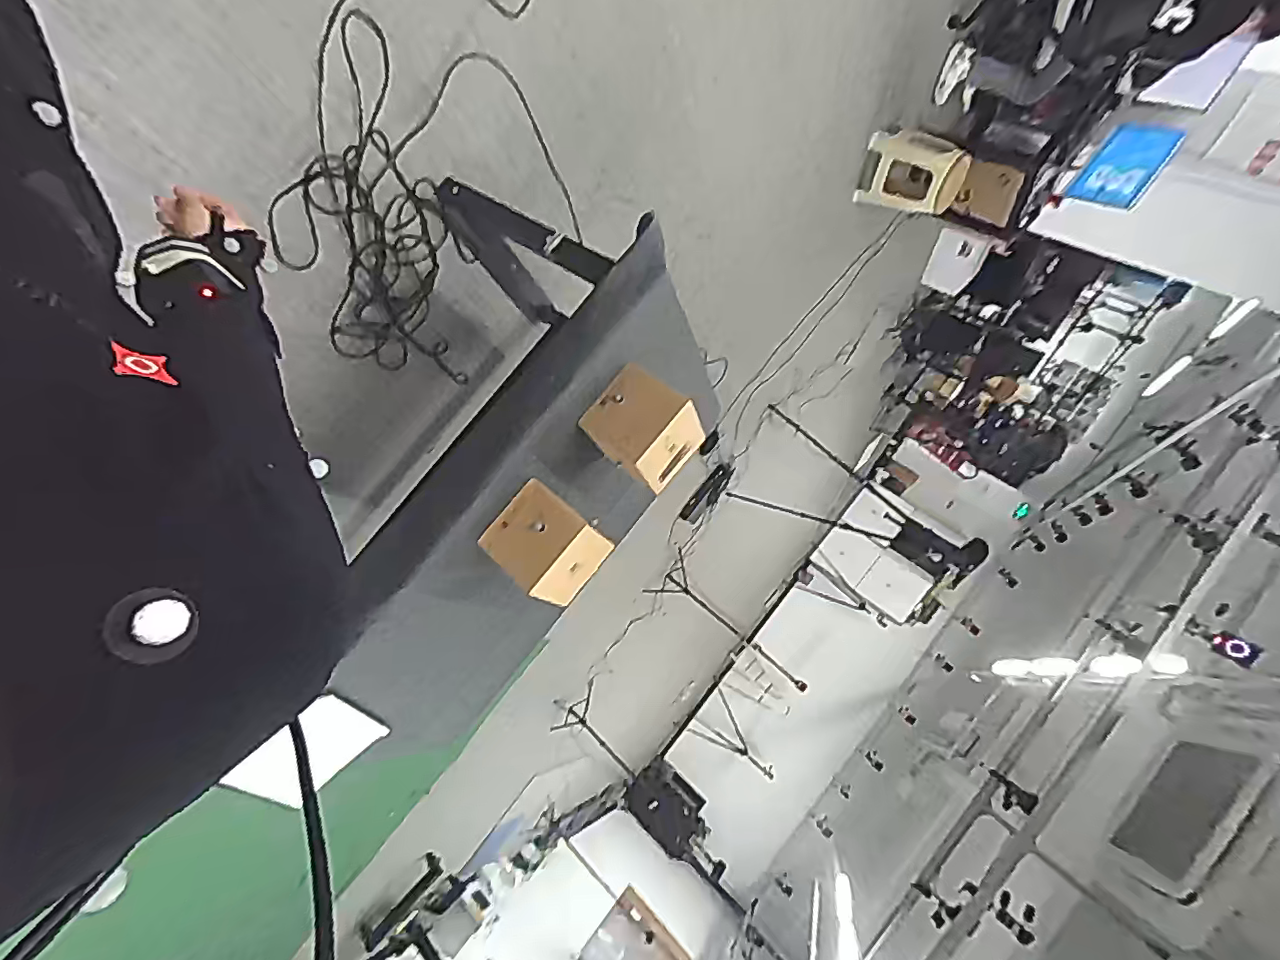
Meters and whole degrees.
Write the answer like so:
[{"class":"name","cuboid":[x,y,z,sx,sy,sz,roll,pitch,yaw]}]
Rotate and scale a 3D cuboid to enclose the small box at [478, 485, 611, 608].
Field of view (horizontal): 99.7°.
[{"class":"small box","cuboid":[-0.193,0.133,1.102,0.168,0.176,0.179,-50,155,-6]}]
